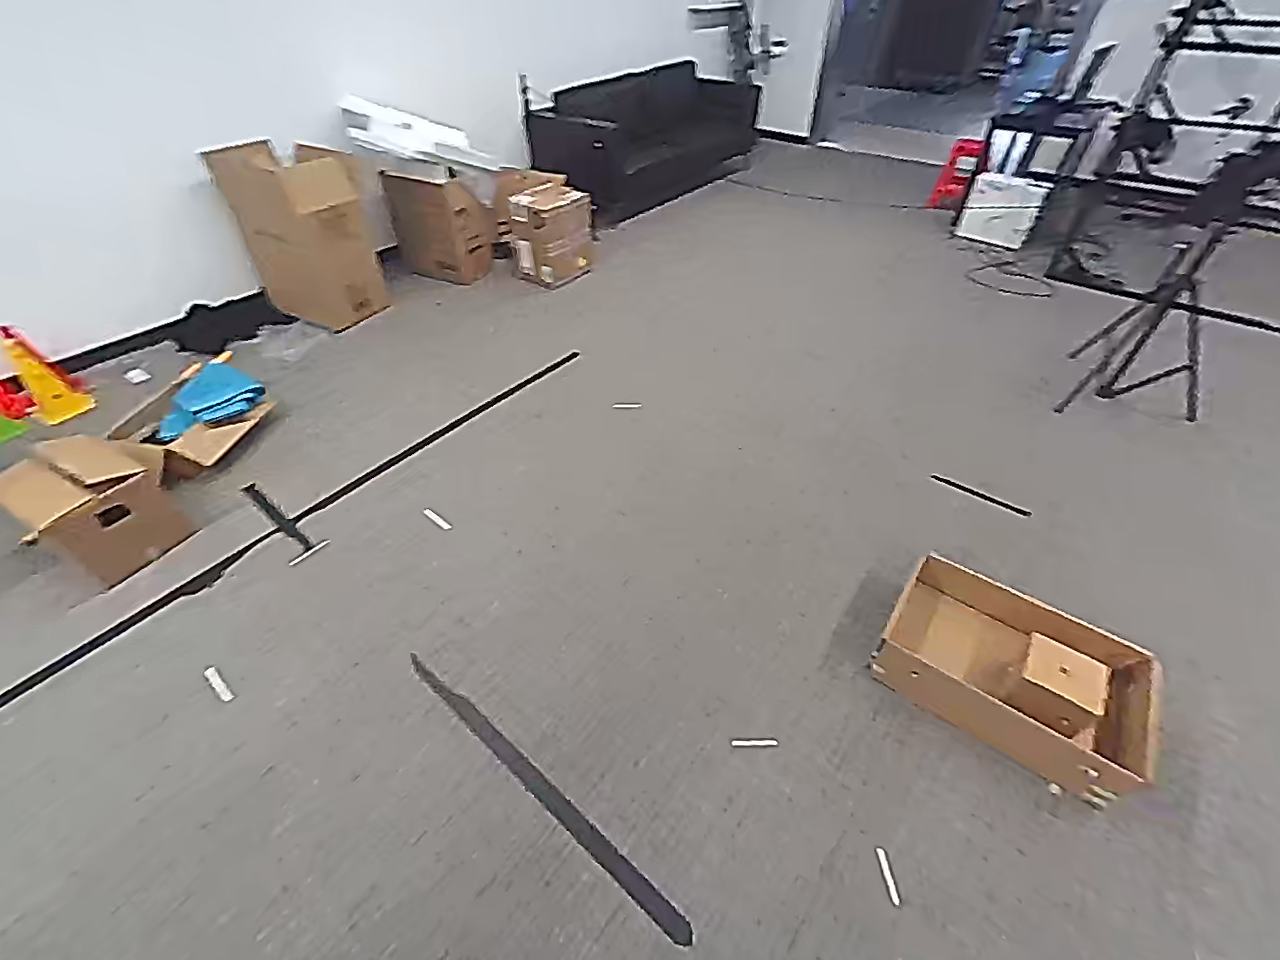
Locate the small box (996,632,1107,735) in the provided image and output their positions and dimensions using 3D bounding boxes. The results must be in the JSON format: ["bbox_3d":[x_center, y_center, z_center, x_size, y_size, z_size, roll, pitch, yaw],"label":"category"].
[{"bbox_3d":[1.098,0.551,1.448,0.179,0.176,0.168,25,48,27],"label":"small box"}]
